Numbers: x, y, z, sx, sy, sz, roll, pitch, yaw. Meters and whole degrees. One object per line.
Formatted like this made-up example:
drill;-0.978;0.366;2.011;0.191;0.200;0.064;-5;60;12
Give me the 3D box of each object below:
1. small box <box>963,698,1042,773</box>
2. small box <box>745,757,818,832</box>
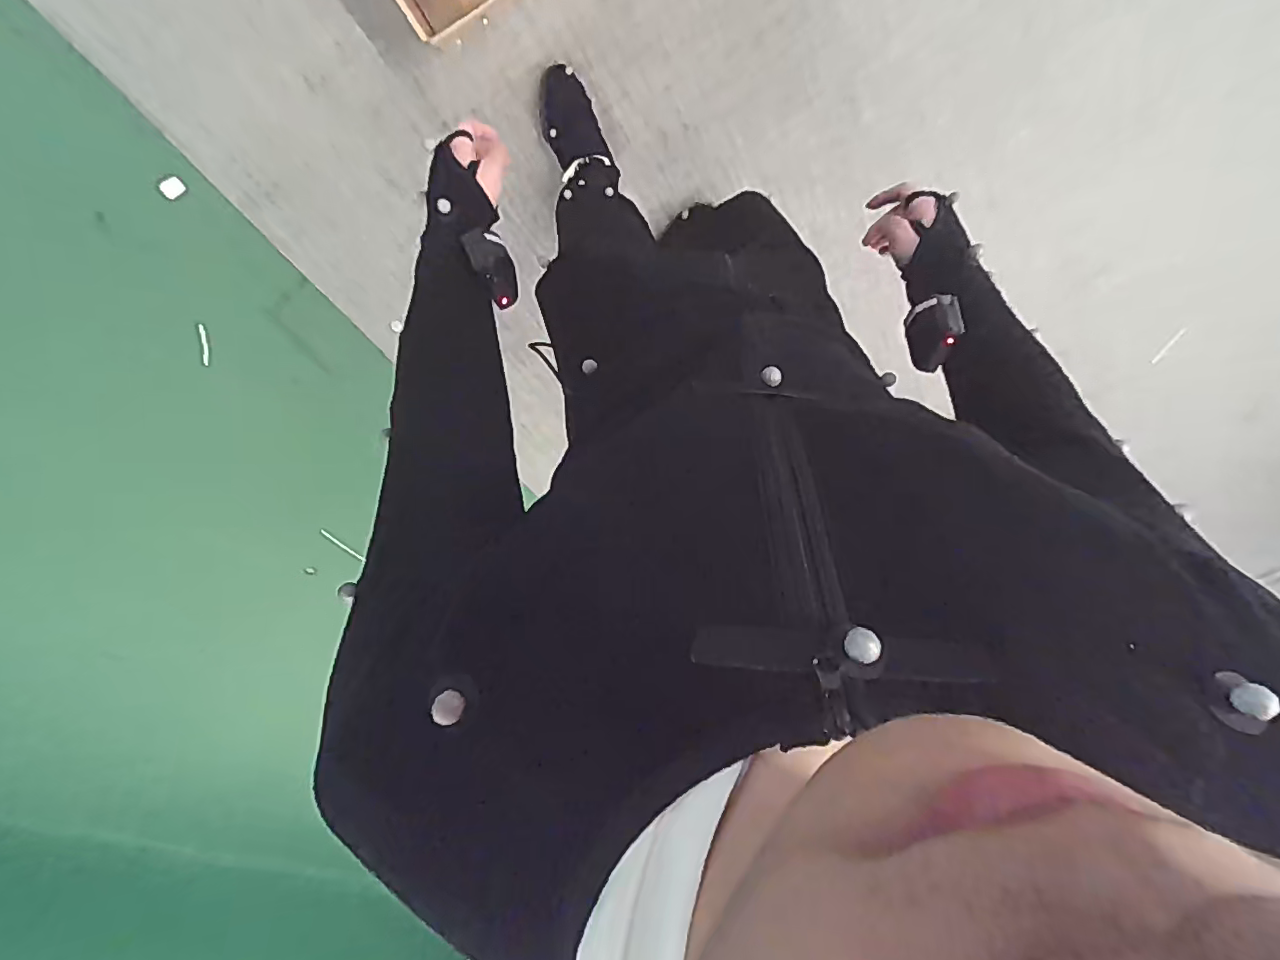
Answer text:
small box;1.261;0.886;1.886;0.168;0.176;0.179;-29;130;13
small box;0.491;1.094;1.885;0.168;0.176;0.179;-29;131;10
